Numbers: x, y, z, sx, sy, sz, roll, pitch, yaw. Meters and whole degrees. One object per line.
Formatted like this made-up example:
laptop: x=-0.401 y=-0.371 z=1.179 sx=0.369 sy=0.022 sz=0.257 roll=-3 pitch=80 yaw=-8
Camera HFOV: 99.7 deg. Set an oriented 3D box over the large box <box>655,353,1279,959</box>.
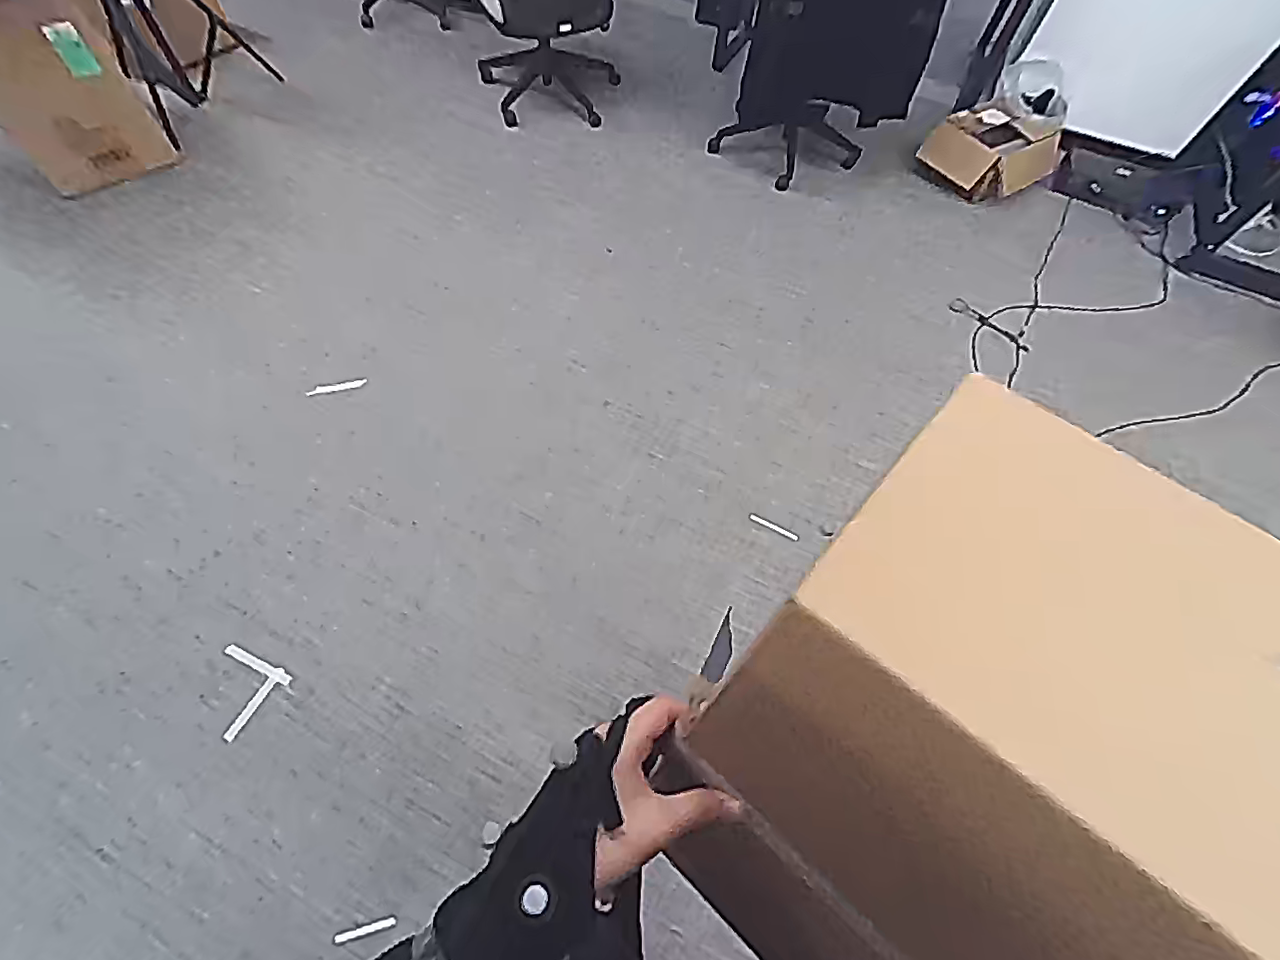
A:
large box: x=0.283 y=0.177 z=0.342 sx=0.408 sy=0.320 sz=0.320 roll=38 pitch=47 yaw=20
